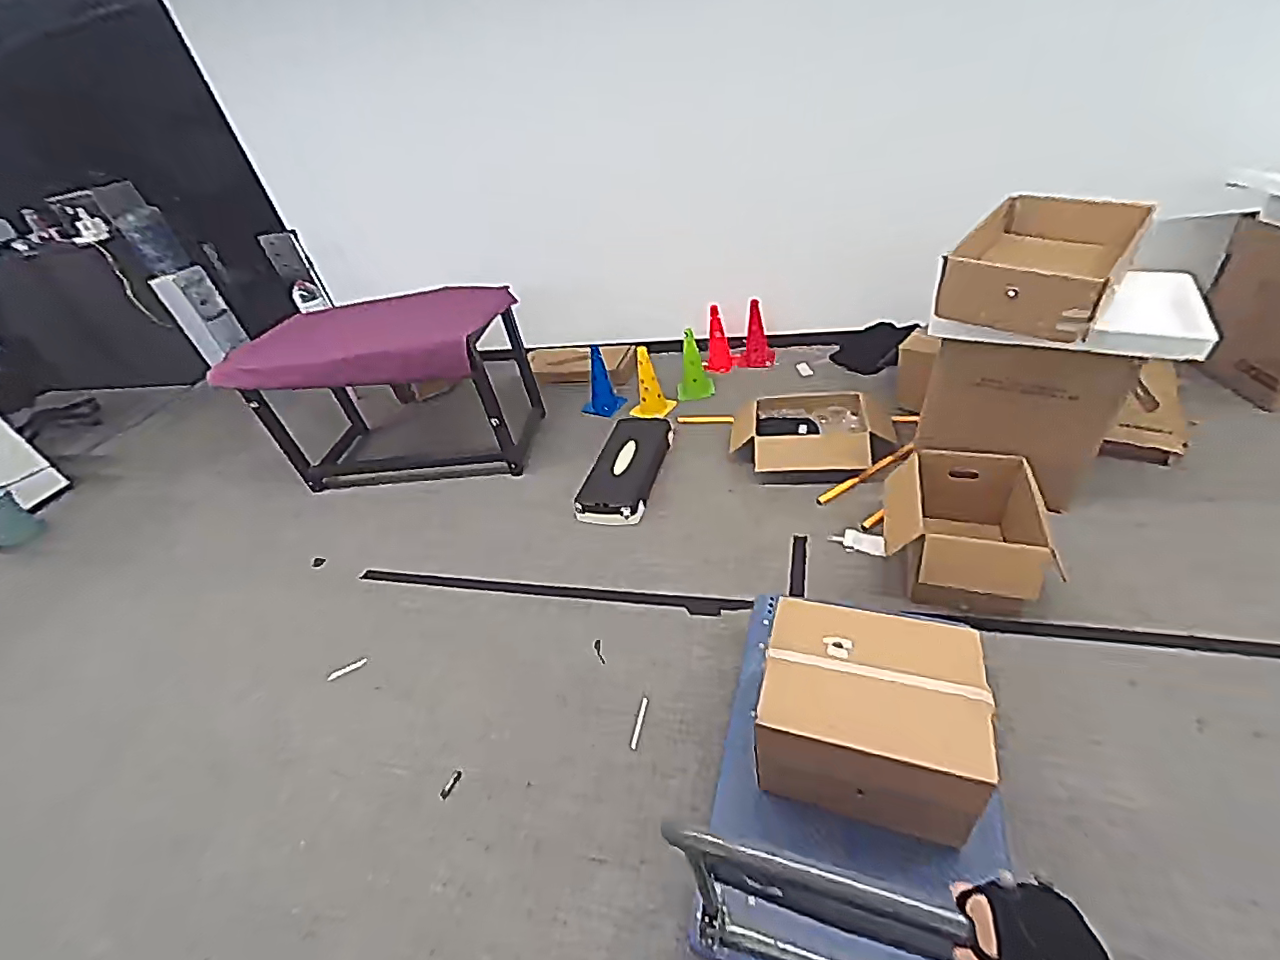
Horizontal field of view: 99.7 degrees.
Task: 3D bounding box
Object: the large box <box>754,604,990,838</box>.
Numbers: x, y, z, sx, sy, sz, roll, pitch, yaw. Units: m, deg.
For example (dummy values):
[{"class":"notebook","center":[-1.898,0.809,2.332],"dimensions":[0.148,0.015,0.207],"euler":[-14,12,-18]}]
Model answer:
[{"class":"large box","center":[0.481,0.511,1.177],"dimensions":[0.408,0.320,0.320],"euler":[4,40,21]}]
